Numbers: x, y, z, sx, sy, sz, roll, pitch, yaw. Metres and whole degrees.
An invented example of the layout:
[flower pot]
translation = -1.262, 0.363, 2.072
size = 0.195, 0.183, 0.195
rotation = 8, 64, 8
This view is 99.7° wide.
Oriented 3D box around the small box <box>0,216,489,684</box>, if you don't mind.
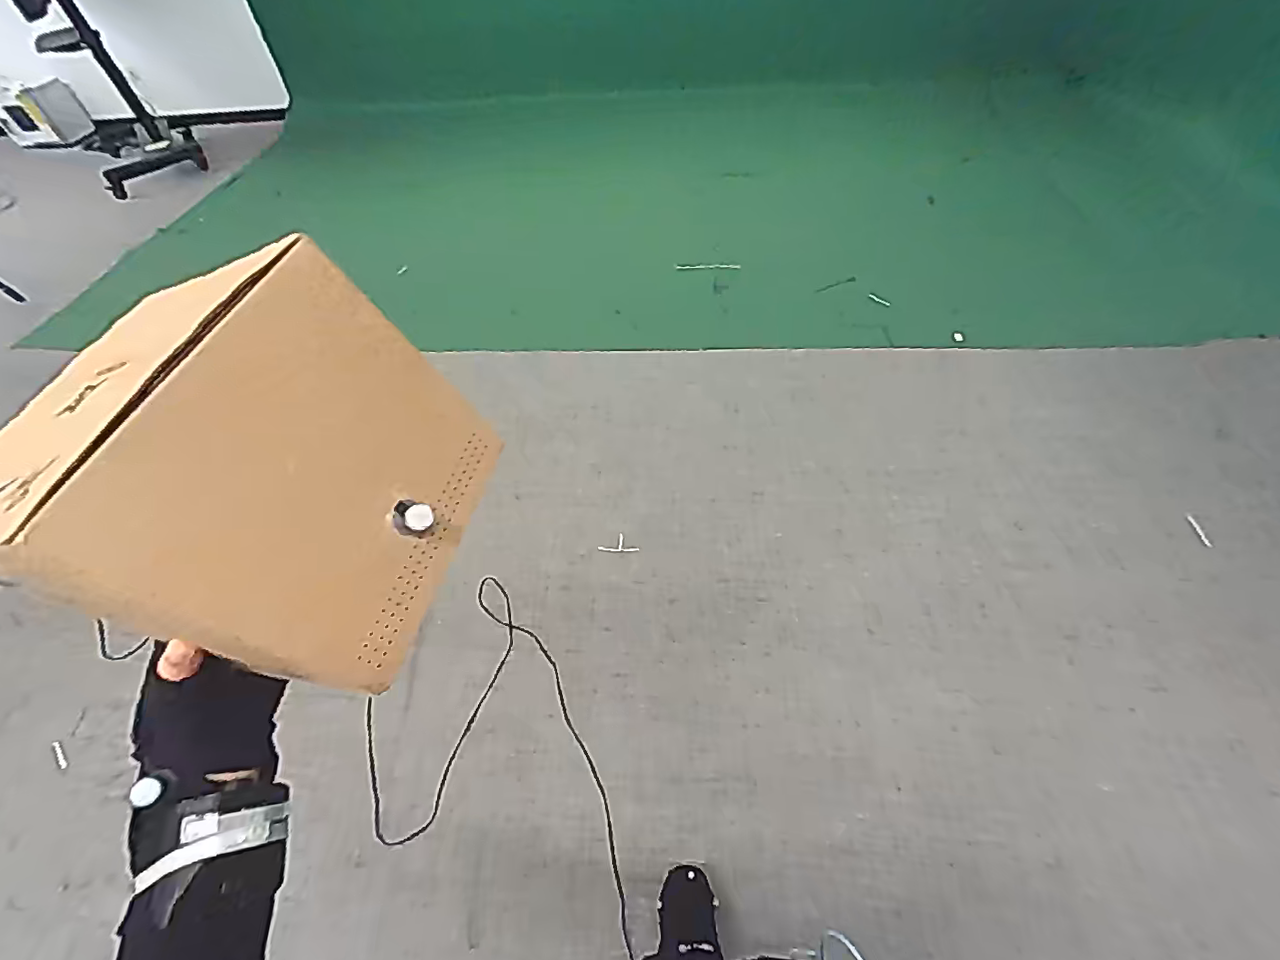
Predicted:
[small box]
translation = -0.215, -0.007, 0.306
size = 0.168, 0.176, 0.179
rotation = -3, 54, 29
